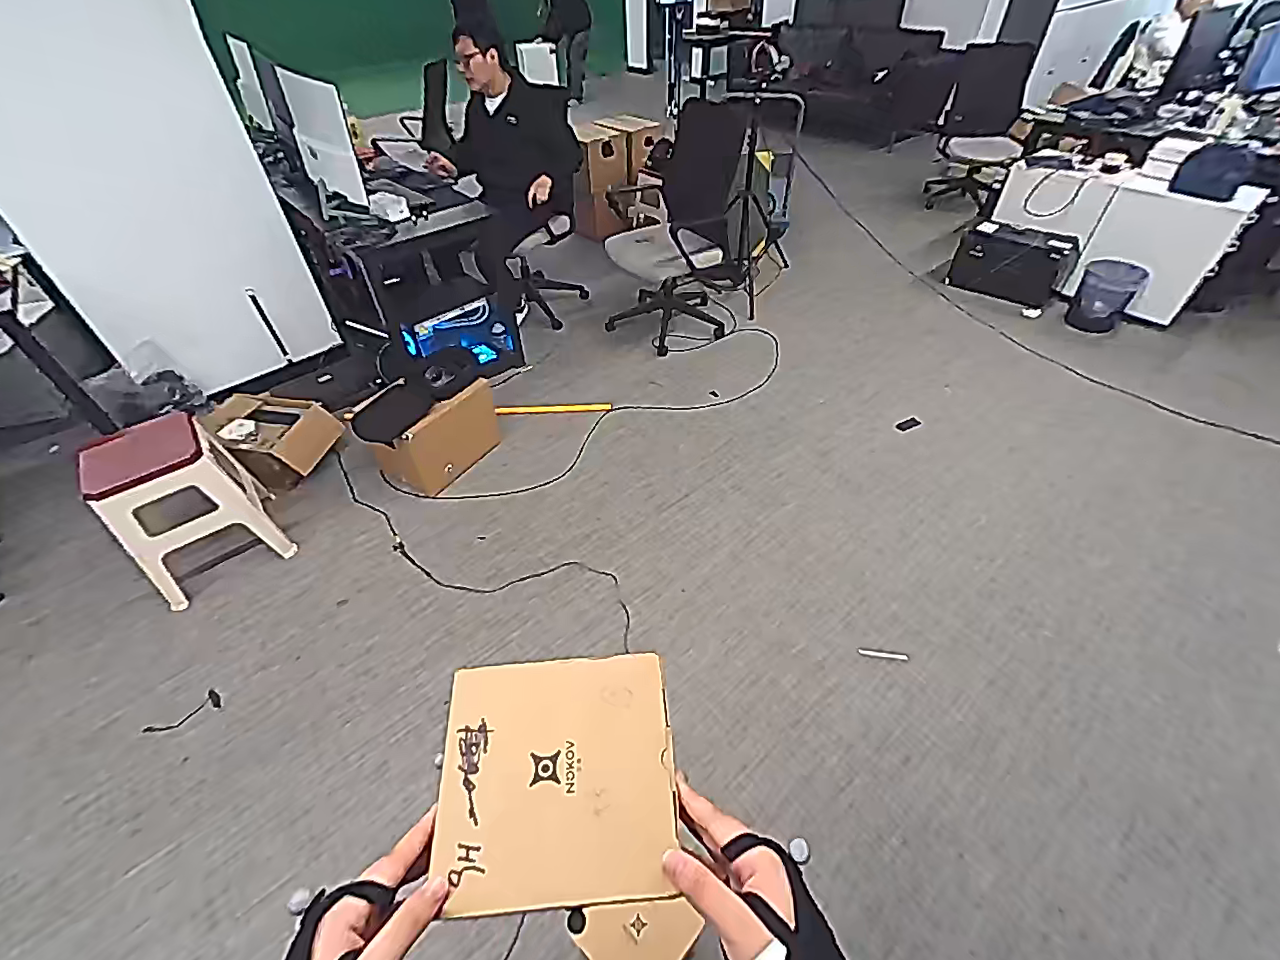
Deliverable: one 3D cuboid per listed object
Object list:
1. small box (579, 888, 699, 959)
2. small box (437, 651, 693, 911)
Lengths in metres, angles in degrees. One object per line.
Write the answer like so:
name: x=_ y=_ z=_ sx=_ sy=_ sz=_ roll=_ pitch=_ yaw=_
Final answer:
small box: x=-0.003 y=0.930 z=1.095 sx=0.179 sy=0.176 sz=0.168 roll=-36 pitch=54 yaw=-28
small box: x=-0.057 y=0.265 z=0.477 sx=0.179 sy=0.176 sz=0.168 roll=-5 pitch=52 yaw=-3
